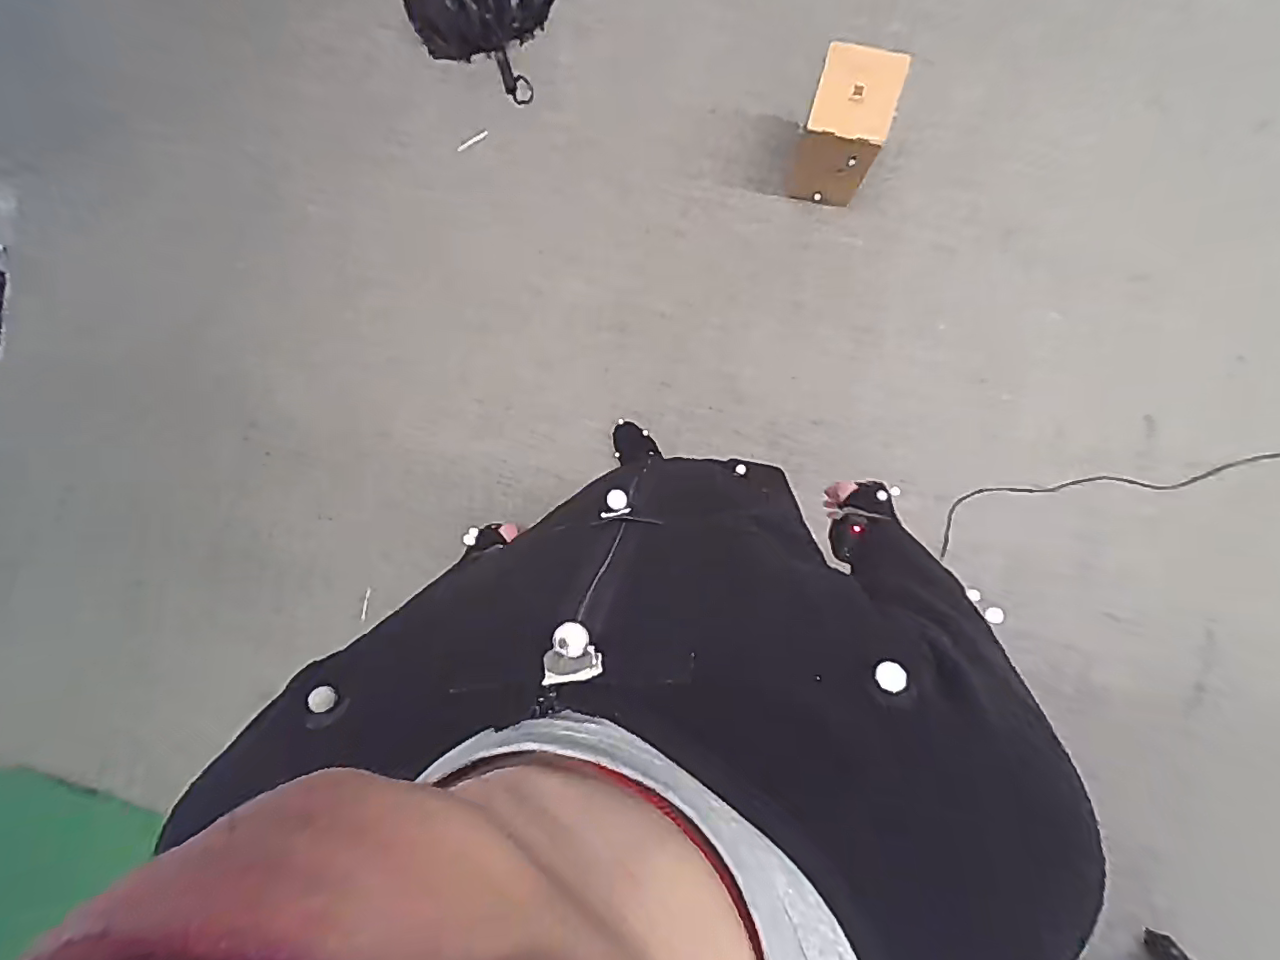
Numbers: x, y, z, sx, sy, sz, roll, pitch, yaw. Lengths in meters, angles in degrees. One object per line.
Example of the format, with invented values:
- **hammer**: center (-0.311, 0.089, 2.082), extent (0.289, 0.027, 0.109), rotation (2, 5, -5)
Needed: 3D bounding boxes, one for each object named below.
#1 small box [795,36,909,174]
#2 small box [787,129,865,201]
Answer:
- **small box**: center (0.446, -0.798, 1.170), extent (0.168, 0.176, 0.179), rotation (15, 97, 4)
- **small box**: center (0.469, -0.820, 1.329), extent (0.168, 0.176, 0.179), rotation (14, 99, 6)
